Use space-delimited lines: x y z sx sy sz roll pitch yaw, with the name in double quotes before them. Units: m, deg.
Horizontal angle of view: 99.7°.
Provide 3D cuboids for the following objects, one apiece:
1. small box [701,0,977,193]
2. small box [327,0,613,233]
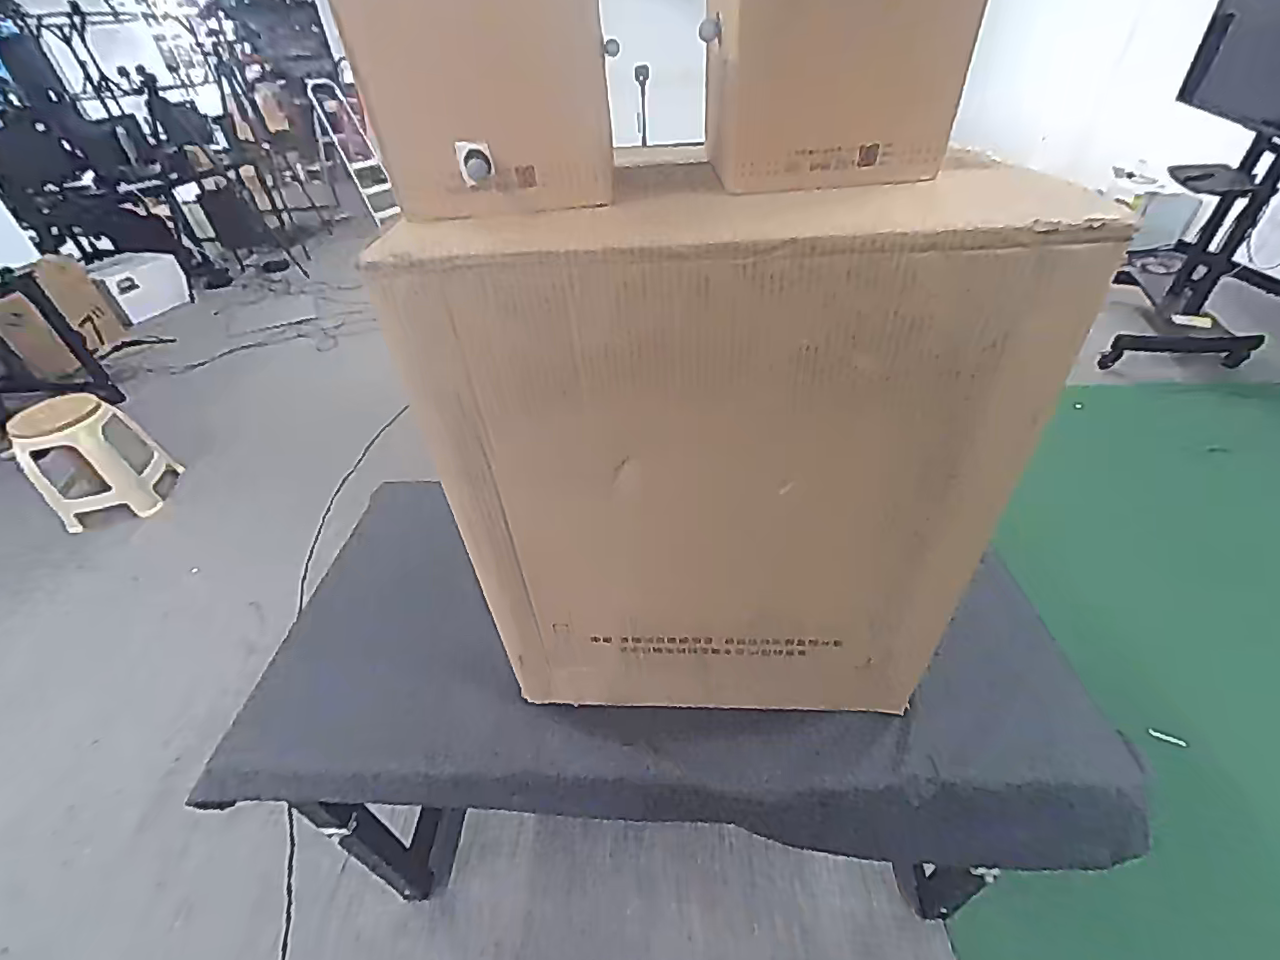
"small box" 0.138 -0.343 0.432 0.168 0.176 0.179 -5 41 2
"small box" -0.115 -0.318 0.437 0.168 0.176 0.179 -6 43 3
